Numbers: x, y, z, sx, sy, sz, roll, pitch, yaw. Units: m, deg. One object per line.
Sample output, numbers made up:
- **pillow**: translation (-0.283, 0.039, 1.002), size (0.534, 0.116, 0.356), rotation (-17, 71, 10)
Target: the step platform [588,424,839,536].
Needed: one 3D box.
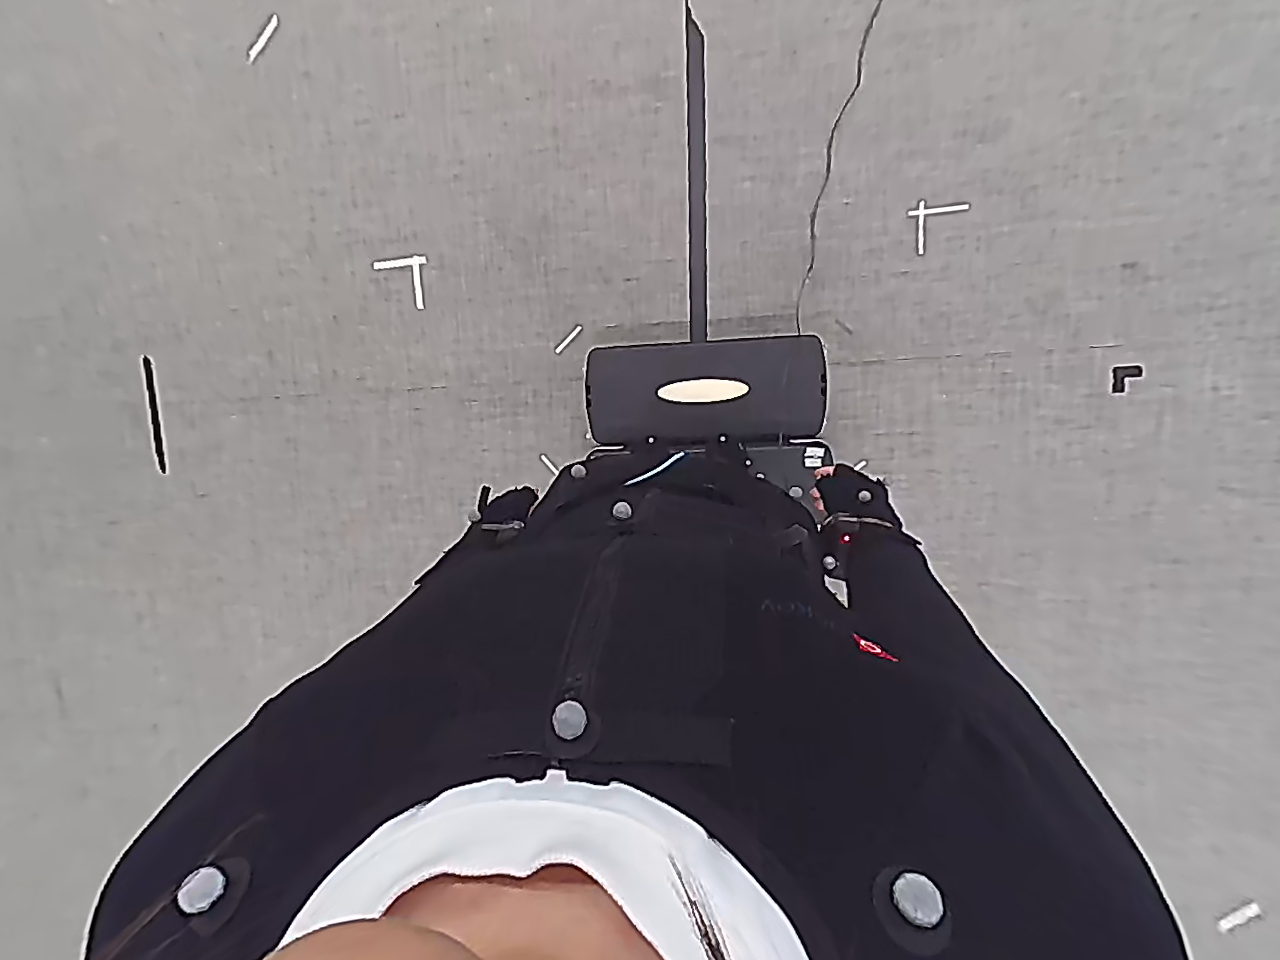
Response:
- **step platform**: translation (0.197, 0.003, 1.517), size (0.684, 0.204, 0.286), rotation (-2, 95, 9)
